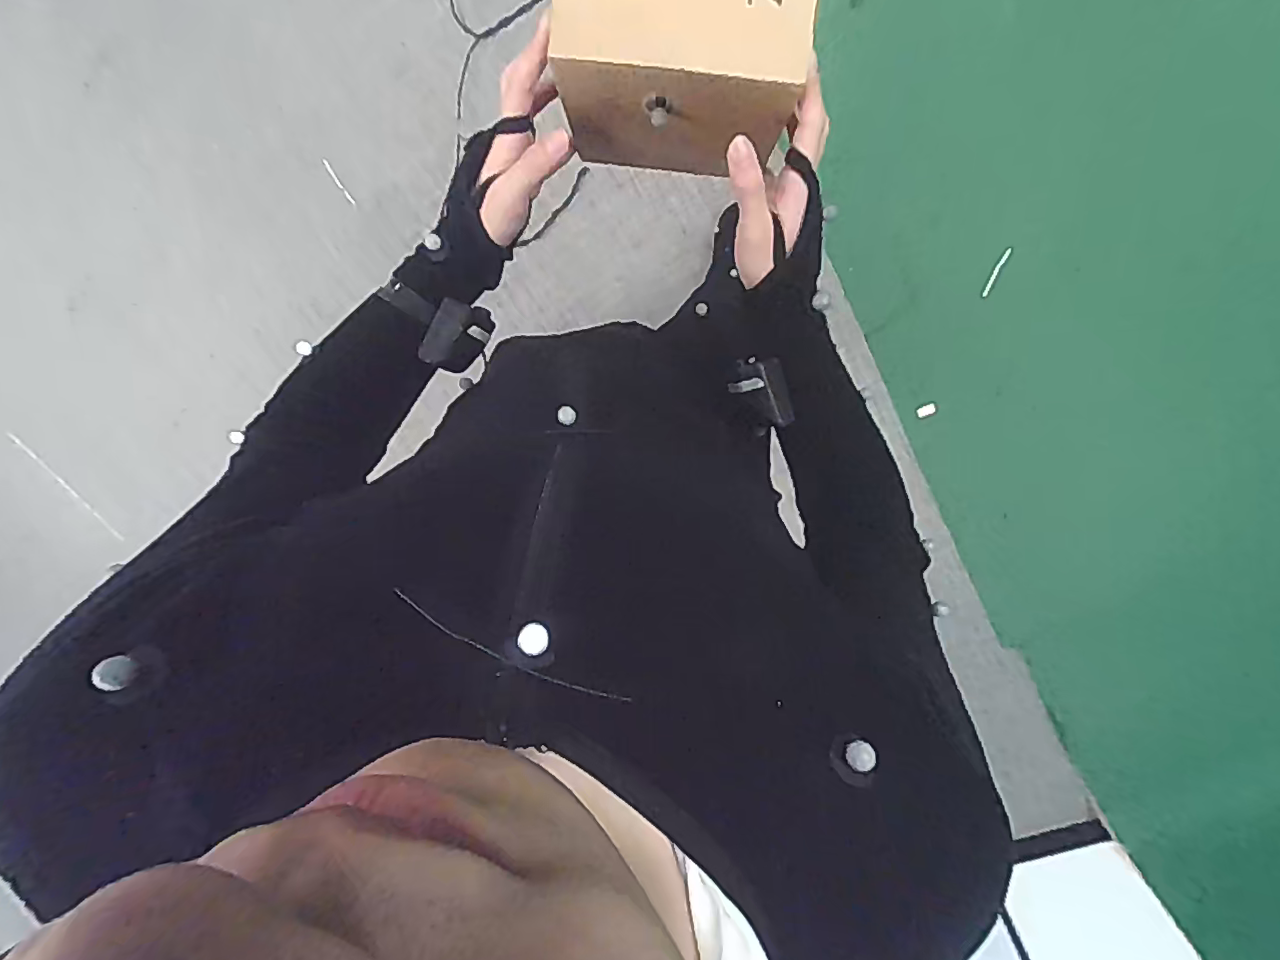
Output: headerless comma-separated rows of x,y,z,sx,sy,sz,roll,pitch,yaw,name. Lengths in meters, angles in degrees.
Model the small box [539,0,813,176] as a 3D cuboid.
0.032,-0.360,0.421,0.179,0.176,0.168,6,99,1,small box
